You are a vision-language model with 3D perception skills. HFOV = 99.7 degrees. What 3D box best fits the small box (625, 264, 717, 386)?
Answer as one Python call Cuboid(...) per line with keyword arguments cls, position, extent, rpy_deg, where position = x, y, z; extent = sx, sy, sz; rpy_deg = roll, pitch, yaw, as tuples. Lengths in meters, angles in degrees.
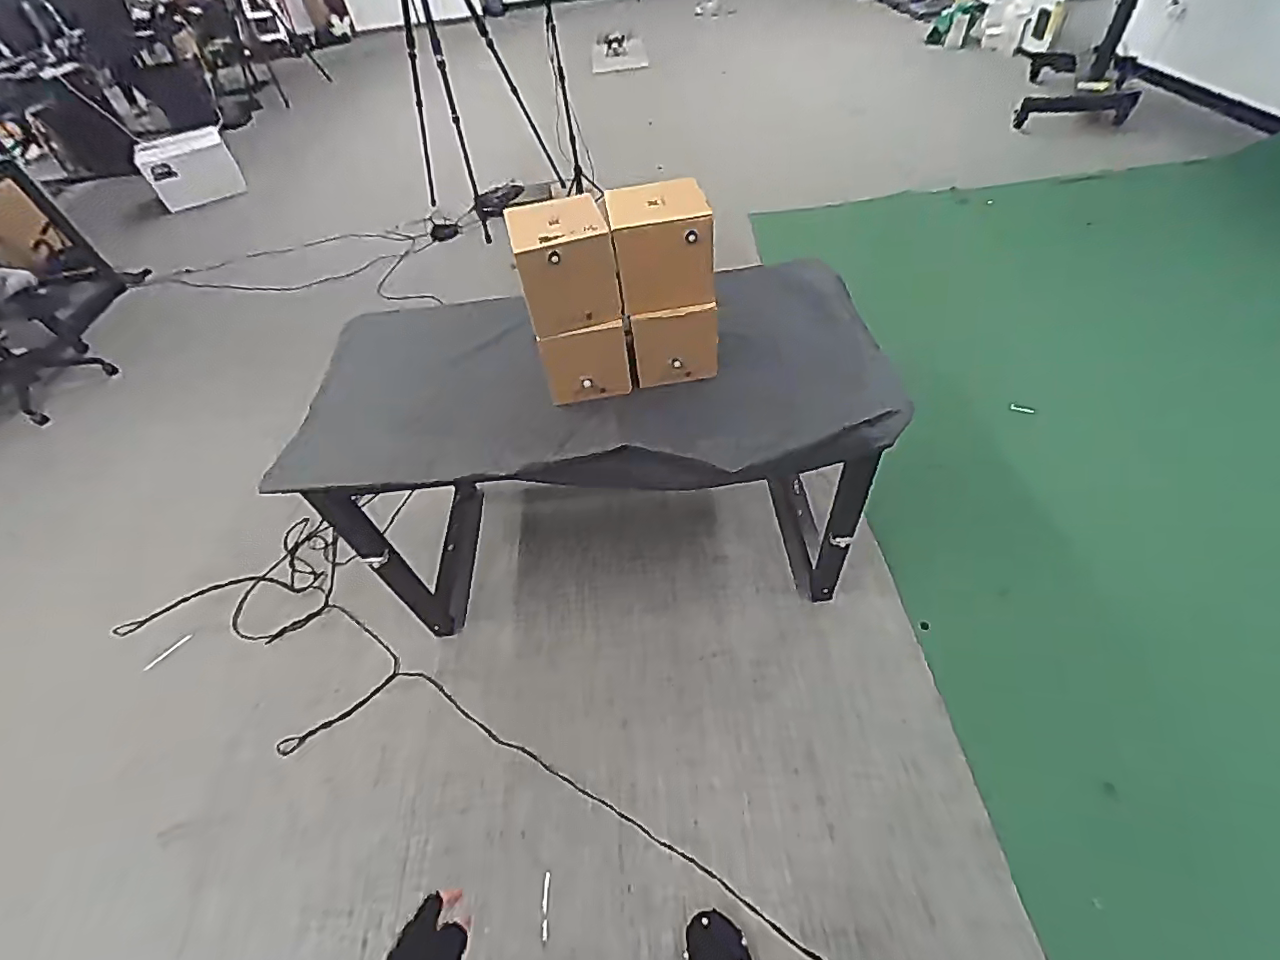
Cuboid(cls="small box", position=(0.064, -0.322, 1.128), extent=(0.168, 0.176, 0.179), rpy_deg=(-9, 50, 1))
